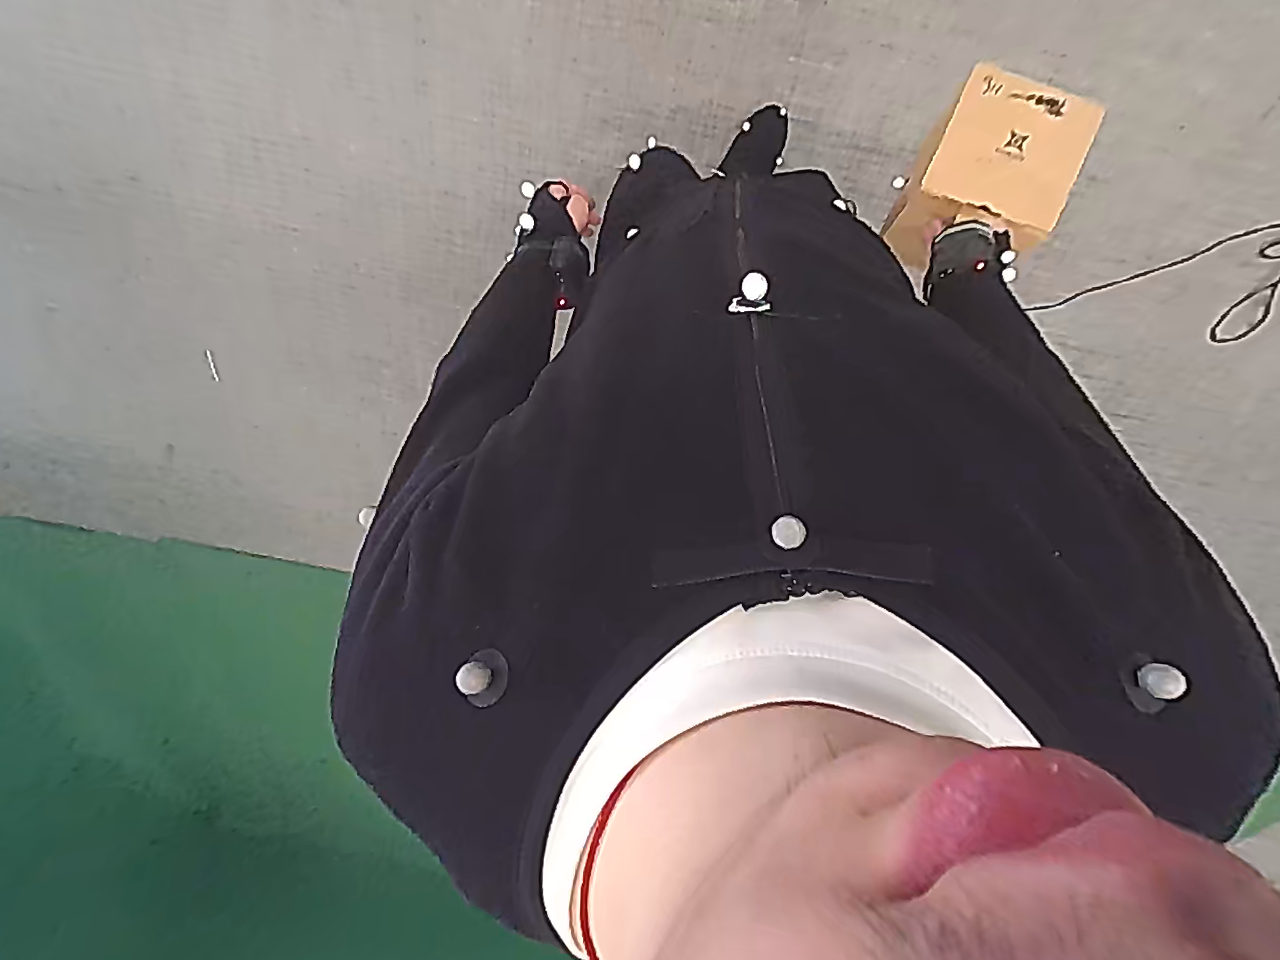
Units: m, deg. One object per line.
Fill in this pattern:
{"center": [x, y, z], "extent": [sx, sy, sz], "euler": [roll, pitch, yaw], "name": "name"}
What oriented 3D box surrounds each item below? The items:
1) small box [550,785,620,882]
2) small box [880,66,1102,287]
{"center": [-0.149, 0.982, 1.507], "extent": [0.168, 0.176, 0.179], "euler": [6, 126, 4], "name": "small box"}
{"center": [0.455, -0.395, 0.737], "extent": [0.168, 0.176, 0.179], "euler": [26, 89, 6], "name": "small box"}
